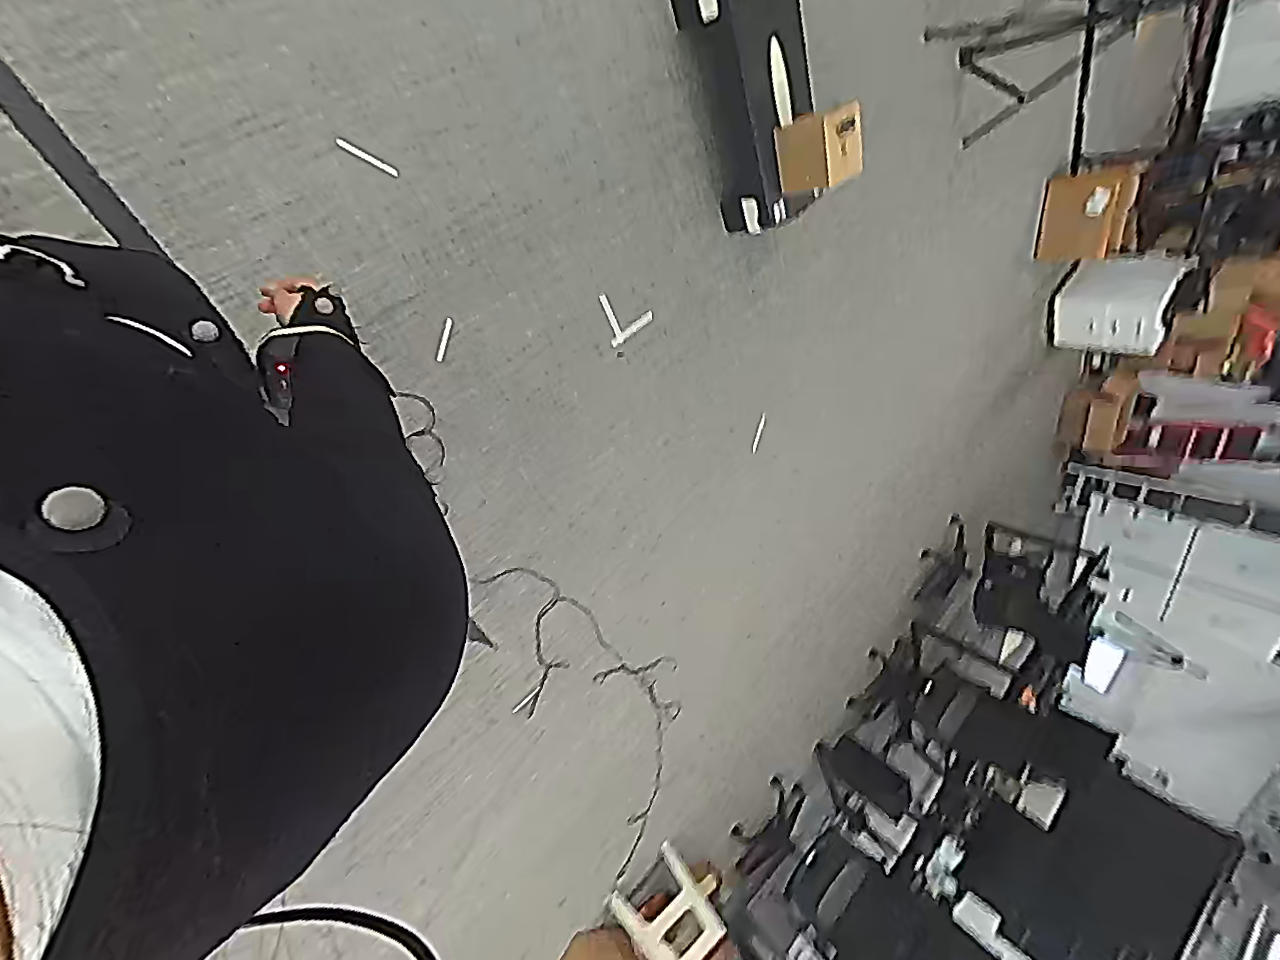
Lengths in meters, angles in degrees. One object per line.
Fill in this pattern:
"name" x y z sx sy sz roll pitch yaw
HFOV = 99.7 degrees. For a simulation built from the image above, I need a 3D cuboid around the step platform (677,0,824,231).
"step platform" 0.350 -1.125 1.605 0.286 0.204 0.684 -41 128 -21
